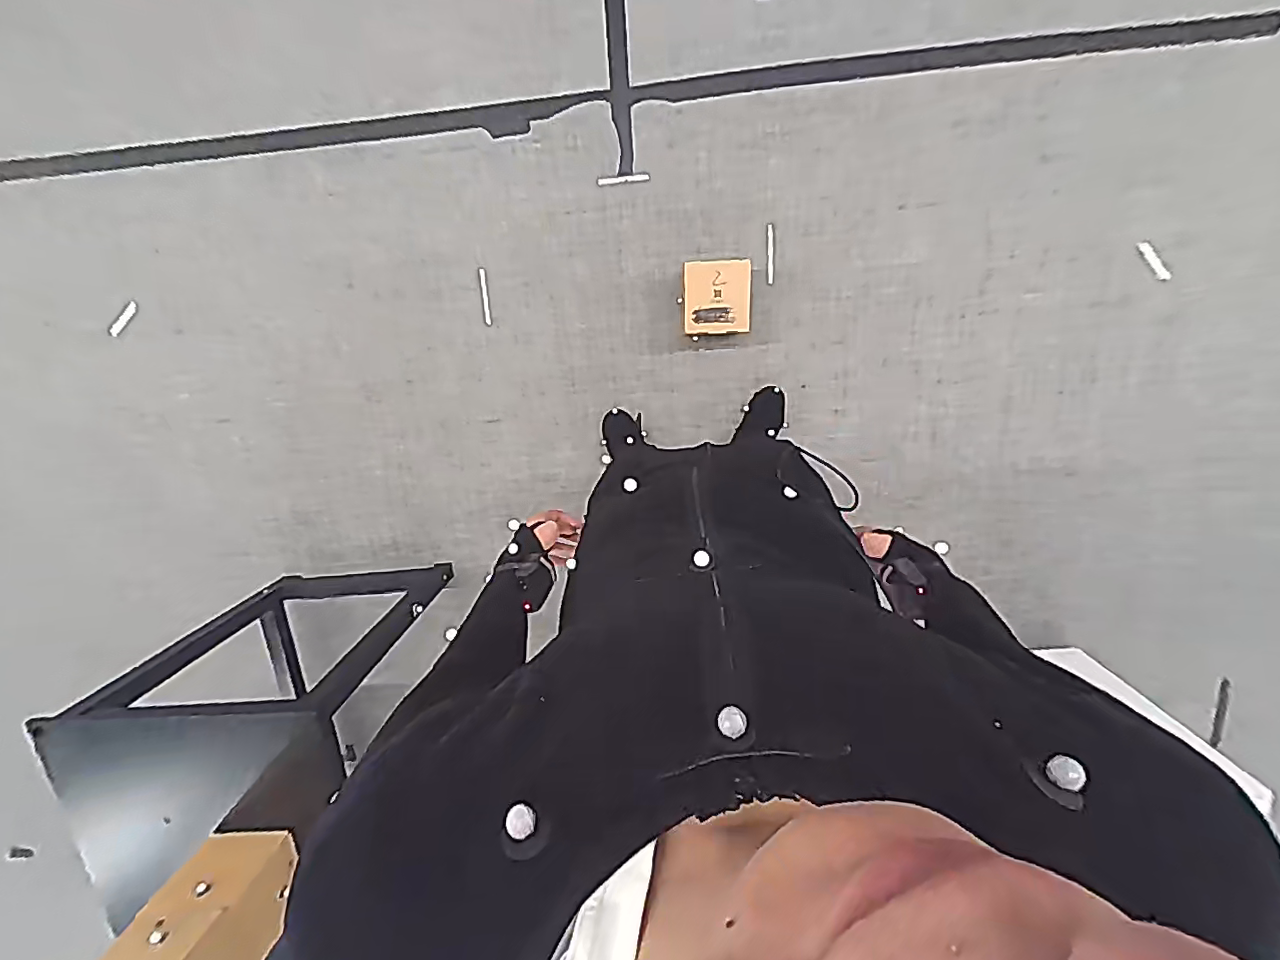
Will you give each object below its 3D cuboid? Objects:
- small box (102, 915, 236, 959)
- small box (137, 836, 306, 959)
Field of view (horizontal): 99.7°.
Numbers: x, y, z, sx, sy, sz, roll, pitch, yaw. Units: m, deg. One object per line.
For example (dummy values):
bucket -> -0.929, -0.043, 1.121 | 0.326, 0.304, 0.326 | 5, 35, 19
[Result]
small box -> -0.798, 0.866, 0.888 | 0.168, 0.176, 0.179 | -8, 103, 4
small box -> -0.797, 0.826, 1.047 | 0.179, 0.176, 0.168 | -4, 104, 3
